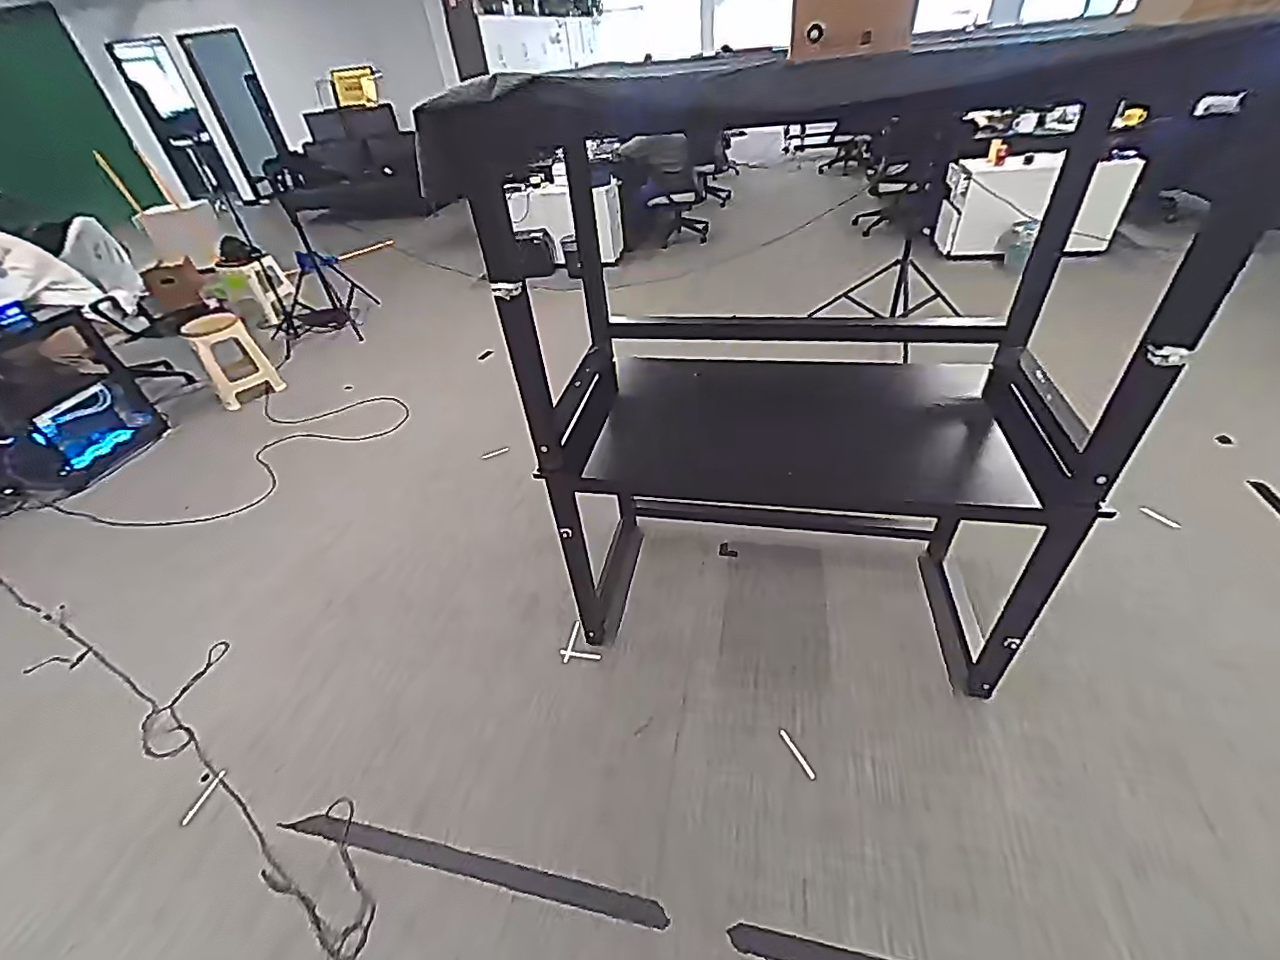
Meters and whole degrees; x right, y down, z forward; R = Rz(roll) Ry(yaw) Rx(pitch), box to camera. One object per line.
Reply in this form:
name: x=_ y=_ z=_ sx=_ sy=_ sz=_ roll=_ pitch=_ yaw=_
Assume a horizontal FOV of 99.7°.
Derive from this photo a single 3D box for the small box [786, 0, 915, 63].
small box: x=0.307 y=-0.724 z=0.789 sx=0.168 sy=0.176 sz=0.179 roll=3 pitch=38 yaw=12
